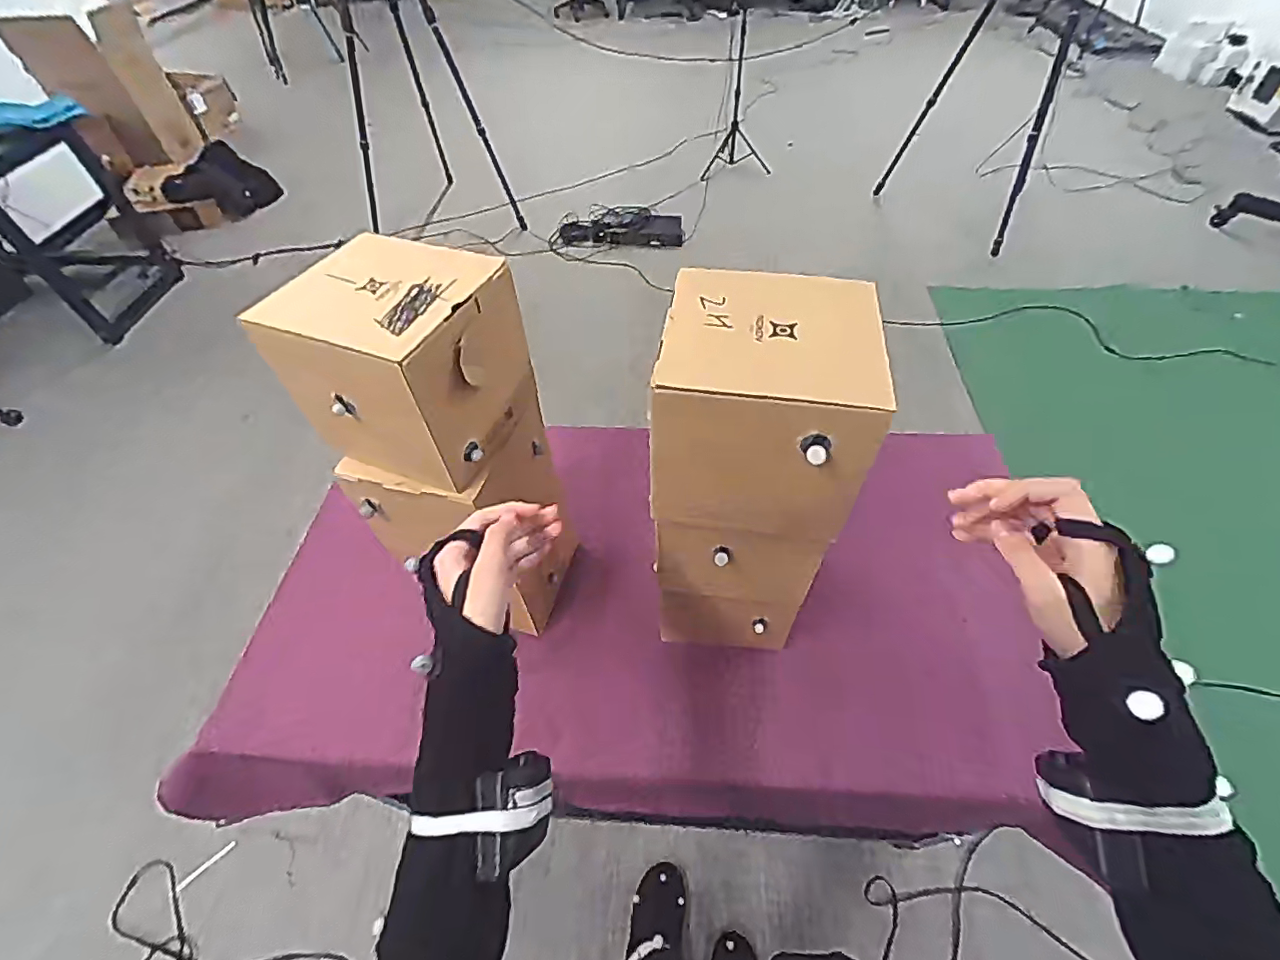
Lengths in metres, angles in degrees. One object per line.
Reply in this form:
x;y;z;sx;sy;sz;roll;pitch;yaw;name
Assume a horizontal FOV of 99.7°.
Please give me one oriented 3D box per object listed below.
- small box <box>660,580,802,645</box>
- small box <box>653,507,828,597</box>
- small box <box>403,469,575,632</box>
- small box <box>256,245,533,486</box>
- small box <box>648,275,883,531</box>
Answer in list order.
0.122;0.125;0.776;0.179;0.176;0.168;2;50;5;small box
0.113;0.026;0.646;0.179;0.176;0.168;4;50;7;small box
-0.210;0.107;0.809;0.179;0.176;0.168;10;51;10;small box
-0.233;-0.117;0.568;0.179;0.176;0.168;15;52;16;small box
0.107;-0.069;0.510;0.179;0.176;0.168;6;50;8;small box
